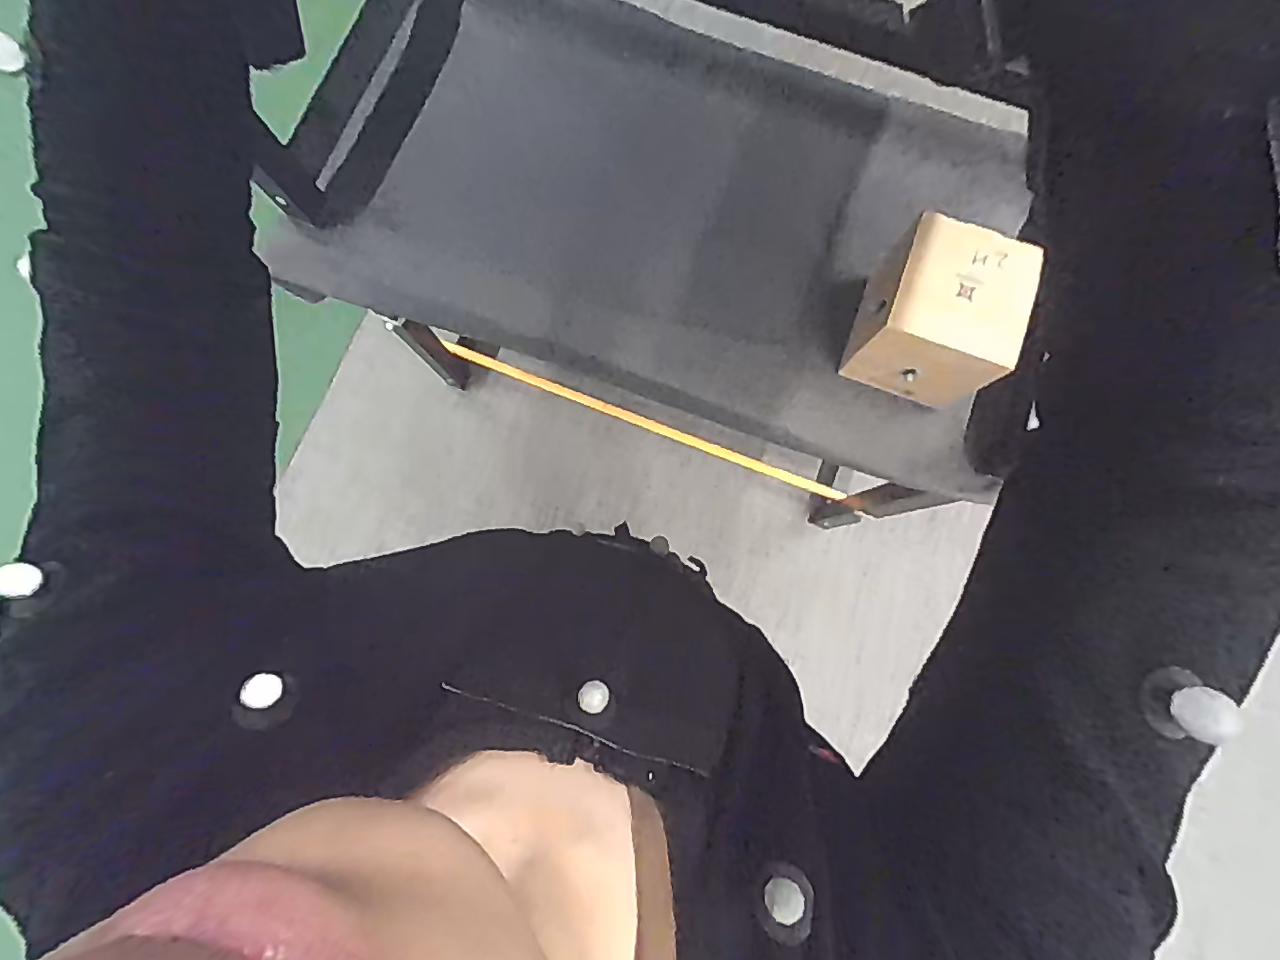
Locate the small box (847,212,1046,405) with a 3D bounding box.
[{"bbox_3d":[0.414,-0.227,0.761,0.168,0.176,0.179,21,80,3],"label":"small box"}]
